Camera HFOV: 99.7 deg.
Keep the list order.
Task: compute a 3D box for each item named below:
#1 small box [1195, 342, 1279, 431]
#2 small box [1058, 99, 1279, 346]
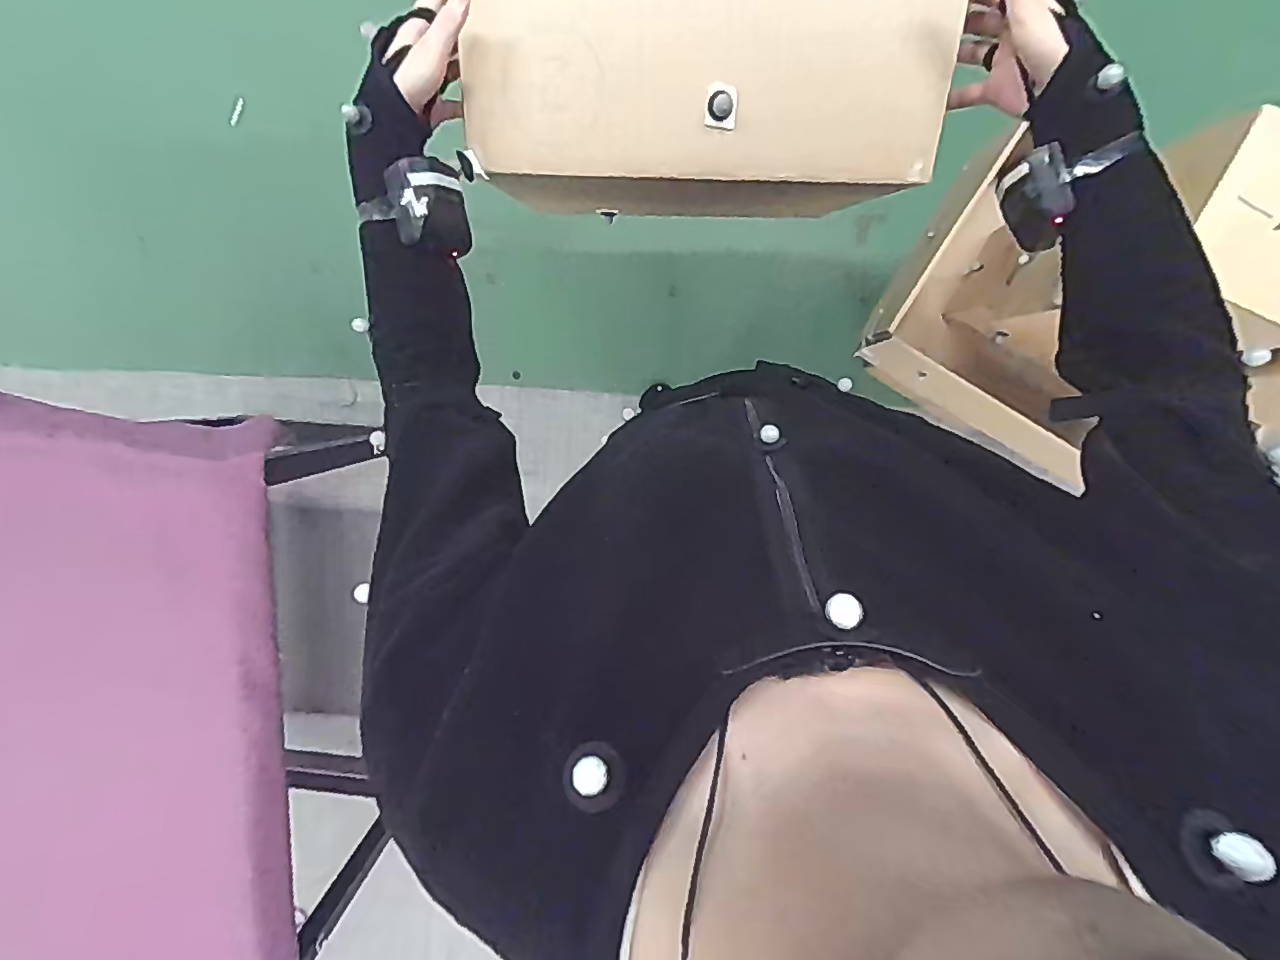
[{"bbox_3d":[0.799,-0.145,0.594,0.179,0.176,0.168,31,101,1],"label":"small box"},{"bbox_3d":[0.622,-0.254,0.584,0.179,0.176,0.168,24,100,1],"label":"small box"}]
